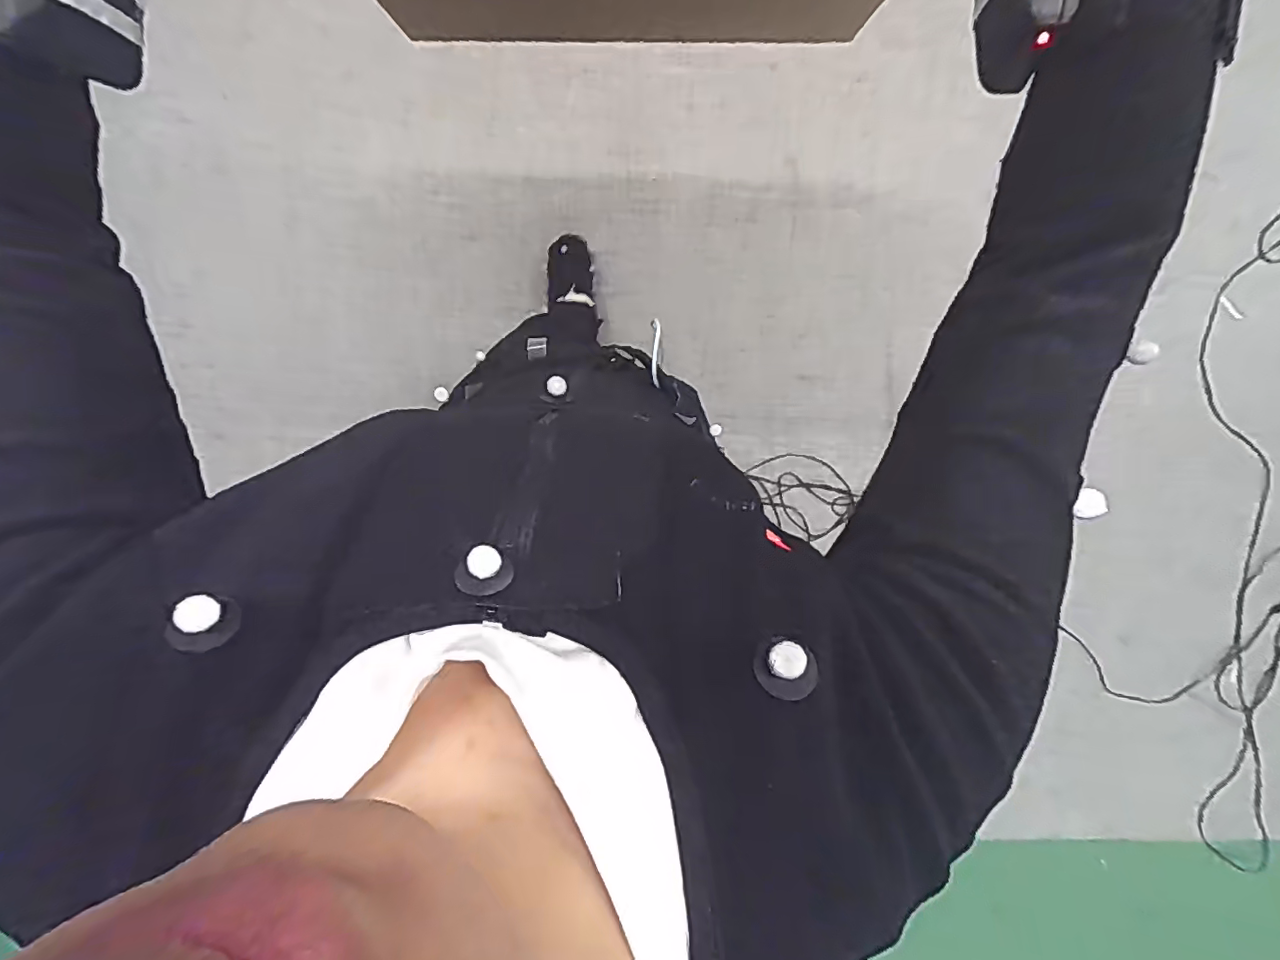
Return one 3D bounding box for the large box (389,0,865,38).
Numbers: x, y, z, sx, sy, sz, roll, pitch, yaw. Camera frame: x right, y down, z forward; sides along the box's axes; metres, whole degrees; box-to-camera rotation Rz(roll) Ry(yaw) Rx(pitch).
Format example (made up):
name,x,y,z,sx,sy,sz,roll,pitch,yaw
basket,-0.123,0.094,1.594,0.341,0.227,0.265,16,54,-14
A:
name,x,y,z,sx,sy,sz,roll,pitch,yaw
large box,-0.009,-0.502,0.302,0.408,0.320,0.320,-1,109,-1
